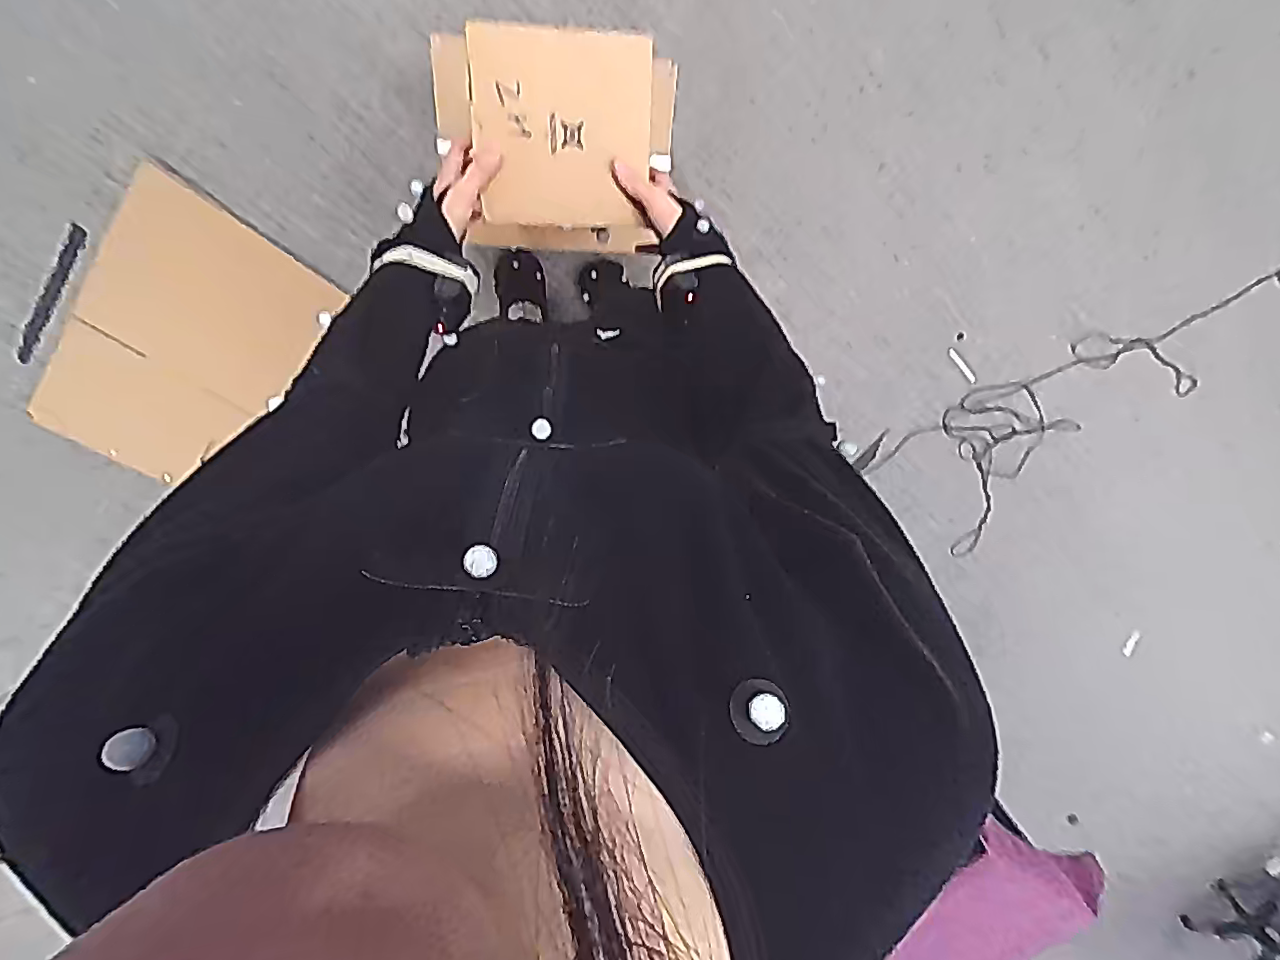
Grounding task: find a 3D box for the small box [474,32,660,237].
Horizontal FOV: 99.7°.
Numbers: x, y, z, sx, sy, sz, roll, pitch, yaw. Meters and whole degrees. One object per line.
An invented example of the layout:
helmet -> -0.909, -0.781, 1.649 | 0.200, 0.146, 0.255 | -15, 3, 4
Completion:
small box -> -0.082, -0.369, 0.606 | 0.179, 0.176, 0.168 | -2, 116, -8
